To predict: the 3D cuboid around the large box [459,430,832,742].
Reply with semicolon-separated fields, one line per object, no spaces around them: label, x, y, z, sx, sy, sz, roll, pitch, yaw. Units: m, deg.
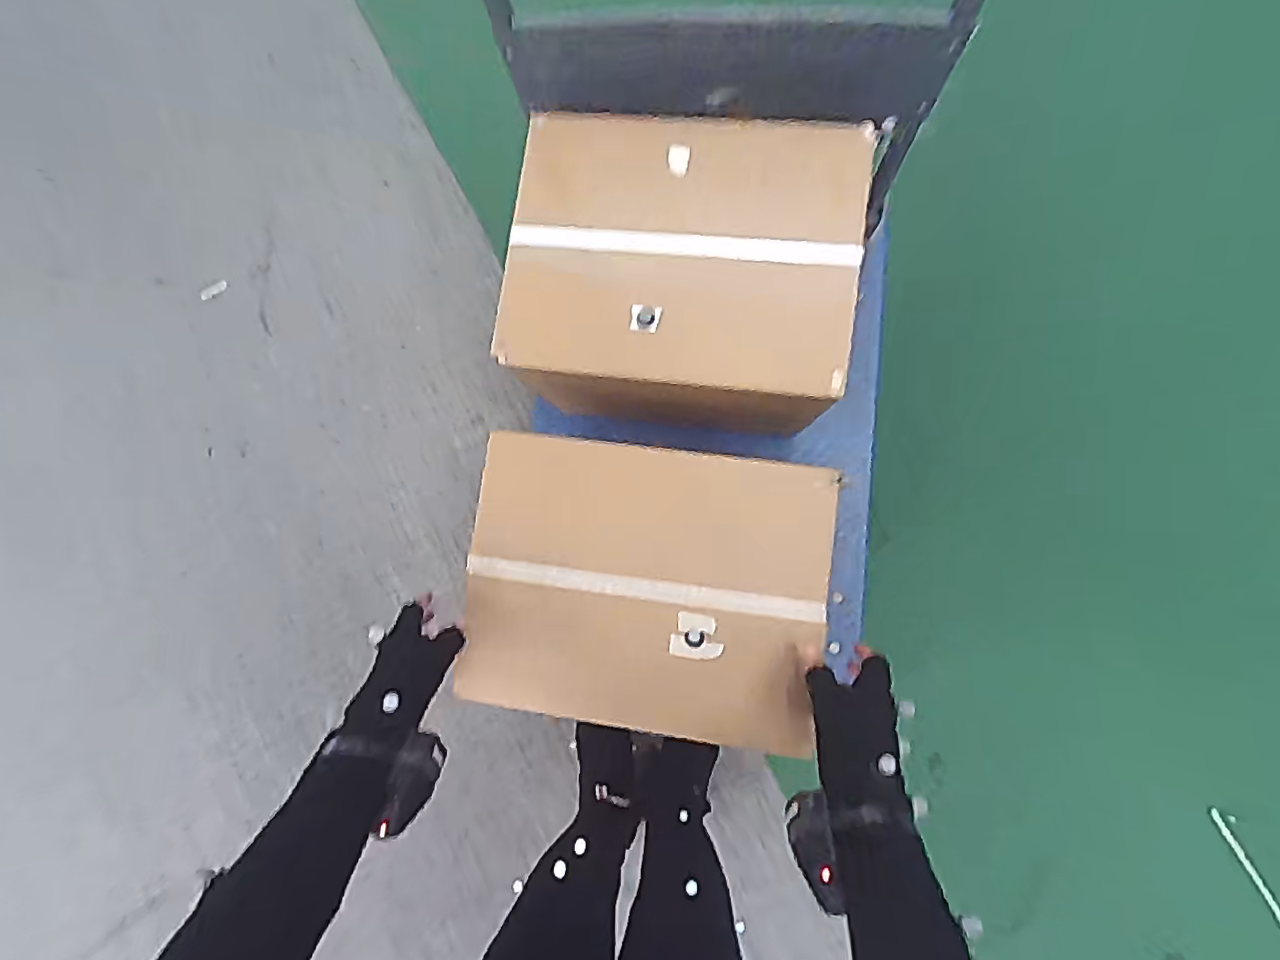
large box;0.015;0.128;0.764;0.408;0.320;0.320;7;86;6
